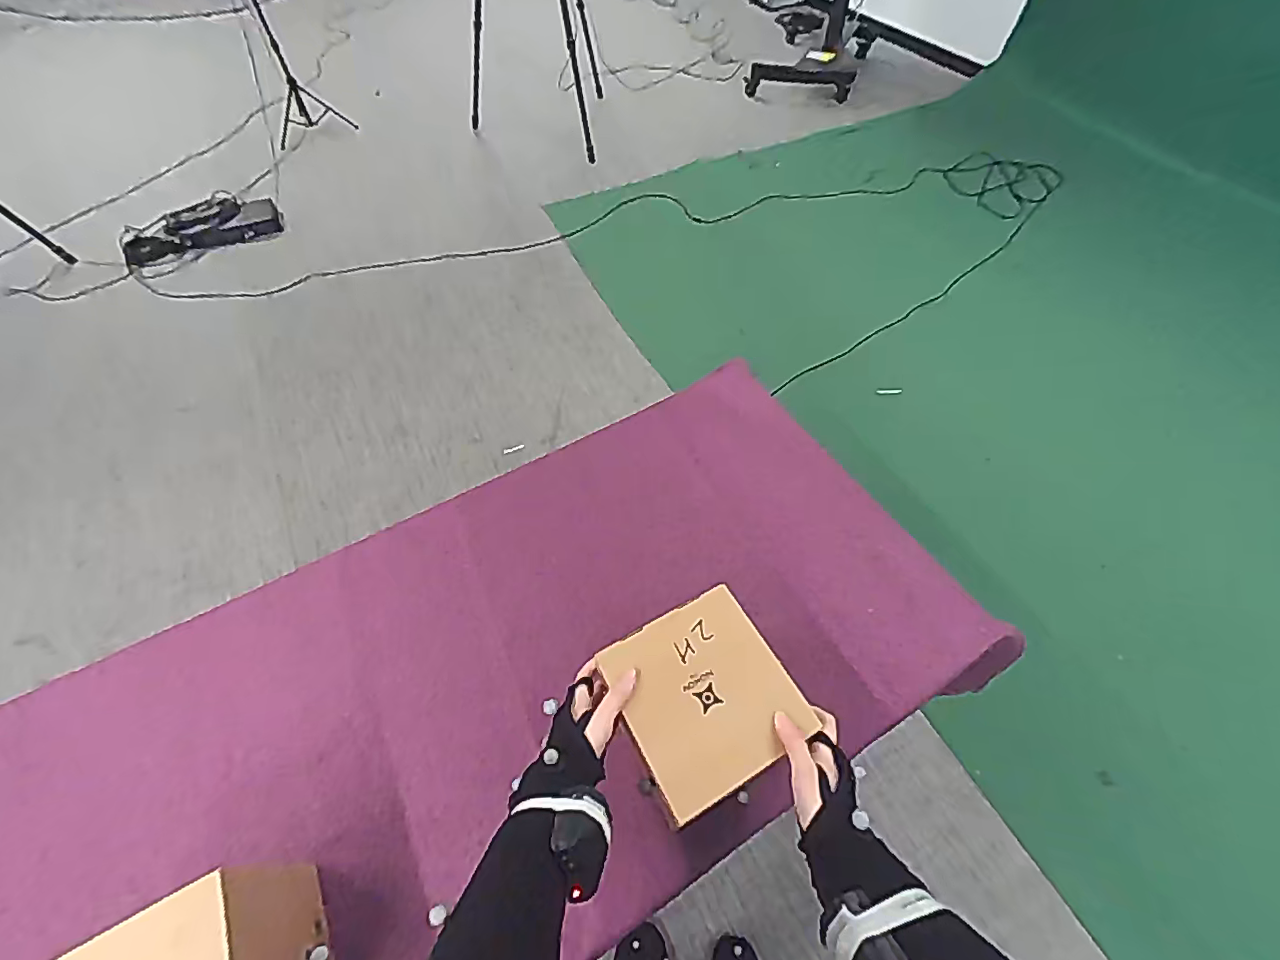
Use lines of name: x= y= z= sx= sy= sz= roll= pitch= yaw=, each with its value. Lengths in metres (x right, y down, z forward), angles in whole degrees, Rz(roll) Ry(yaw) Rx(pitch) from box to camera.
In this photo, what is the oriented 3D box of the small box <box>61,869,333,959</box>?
small box: x=-0.394 y=0.475 z=0.468 sx=0.179 sy=0.176 sz=0.168 roll=-25 pitch=59 yaw=-17
